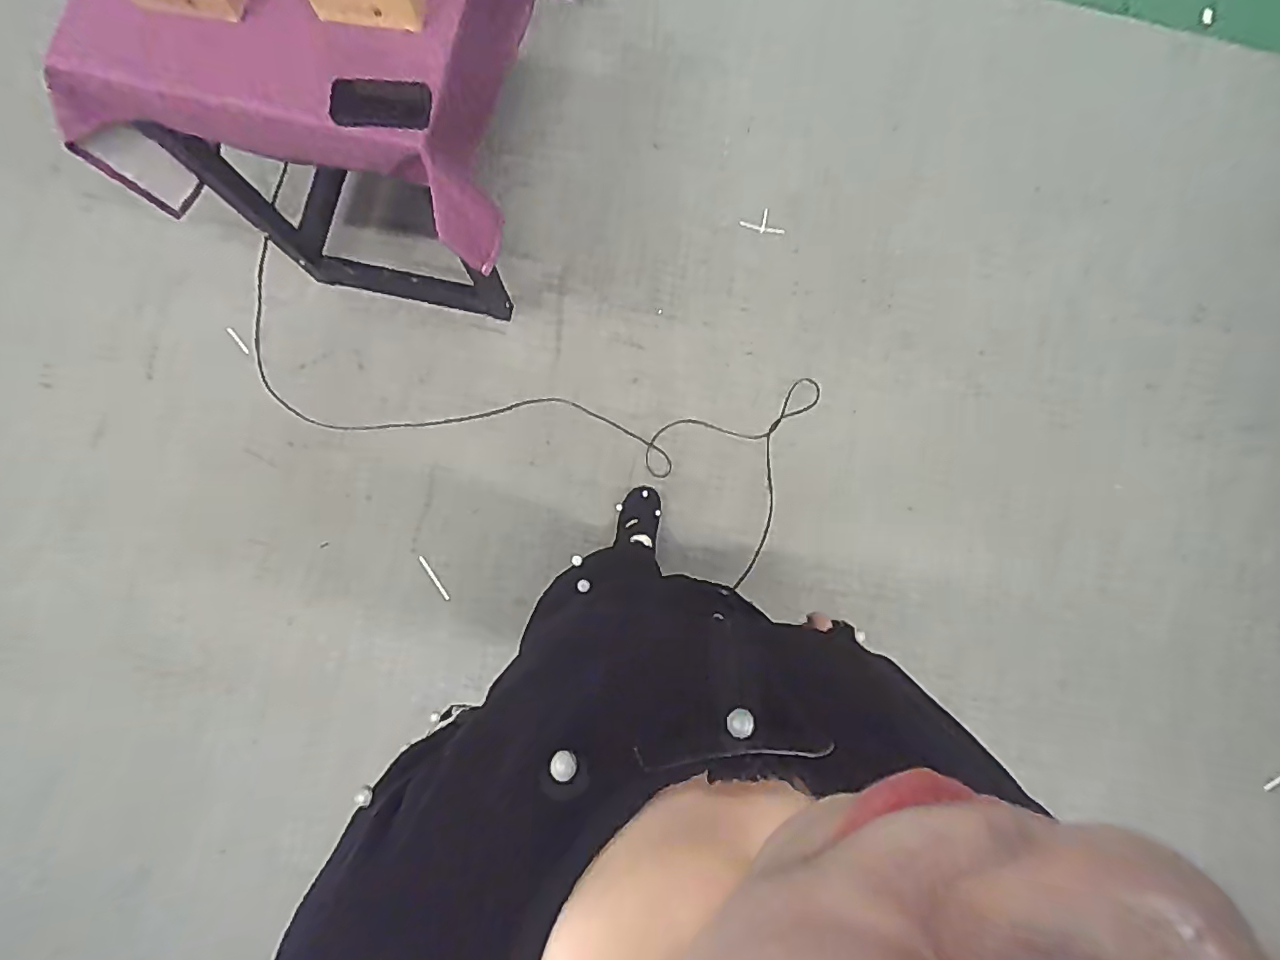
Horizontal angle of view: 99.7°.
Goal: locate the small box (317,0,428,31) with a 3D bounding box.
[{"bbox_3d":[-0.417,-0.821,0.802,0.168,0.176,0.179,6,82,-1],"label":"small box"}]
